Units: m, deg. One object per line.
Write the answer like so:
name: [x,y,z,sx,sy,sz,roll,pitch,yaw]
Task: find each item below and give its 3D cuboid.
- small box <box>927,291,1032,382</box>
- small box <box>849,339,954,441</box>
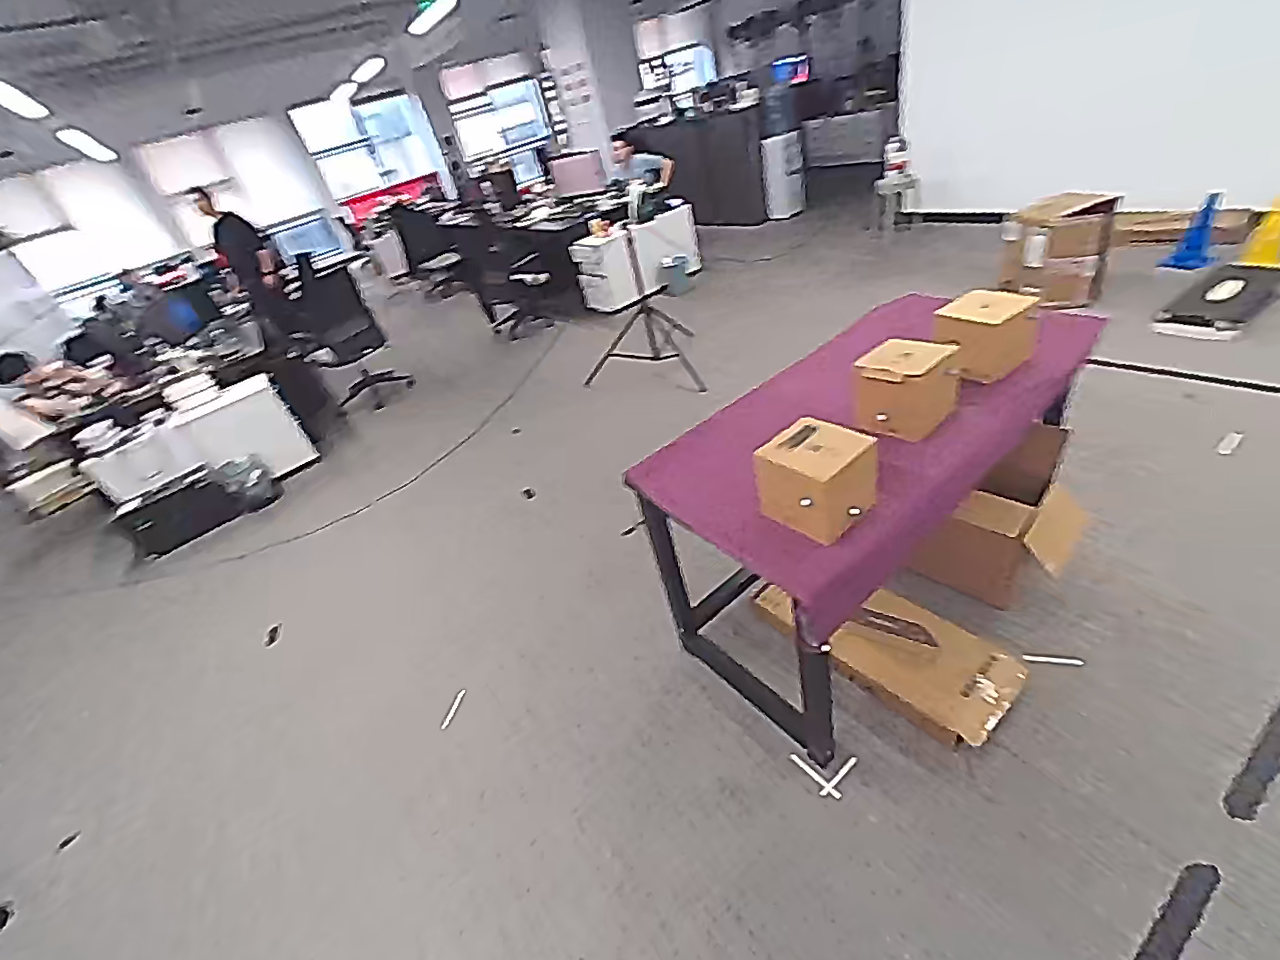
small box: [0.884,-0.377,1.420,0.179,0.176,0.168,-30,37,-18]
small box: [0.630,-0.220,1.309,0.179,0.176,0.168,-35,36,-24]
